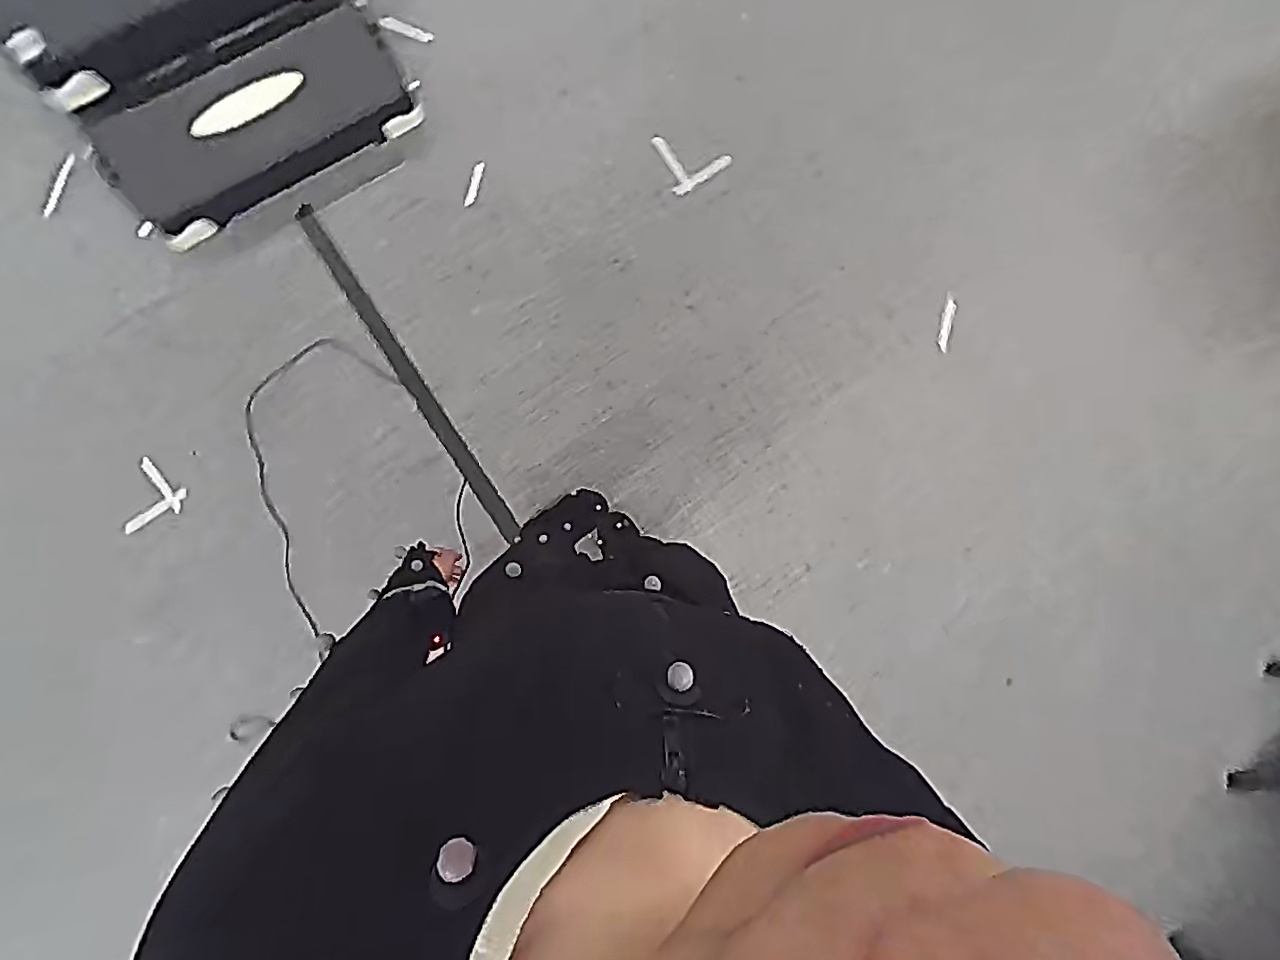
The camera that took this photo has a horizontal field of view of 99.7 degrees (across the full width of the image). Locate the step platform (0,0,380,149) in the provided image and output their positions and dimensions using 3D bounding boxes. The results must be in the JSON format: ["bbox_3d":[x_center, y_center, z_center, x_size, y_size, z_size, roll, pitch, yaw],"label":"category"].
[{"bbox_3d":[-0.971,-1.035,1.201,0.684,0.204,0.286,-28,93,-8],"label":"step platform"}]
